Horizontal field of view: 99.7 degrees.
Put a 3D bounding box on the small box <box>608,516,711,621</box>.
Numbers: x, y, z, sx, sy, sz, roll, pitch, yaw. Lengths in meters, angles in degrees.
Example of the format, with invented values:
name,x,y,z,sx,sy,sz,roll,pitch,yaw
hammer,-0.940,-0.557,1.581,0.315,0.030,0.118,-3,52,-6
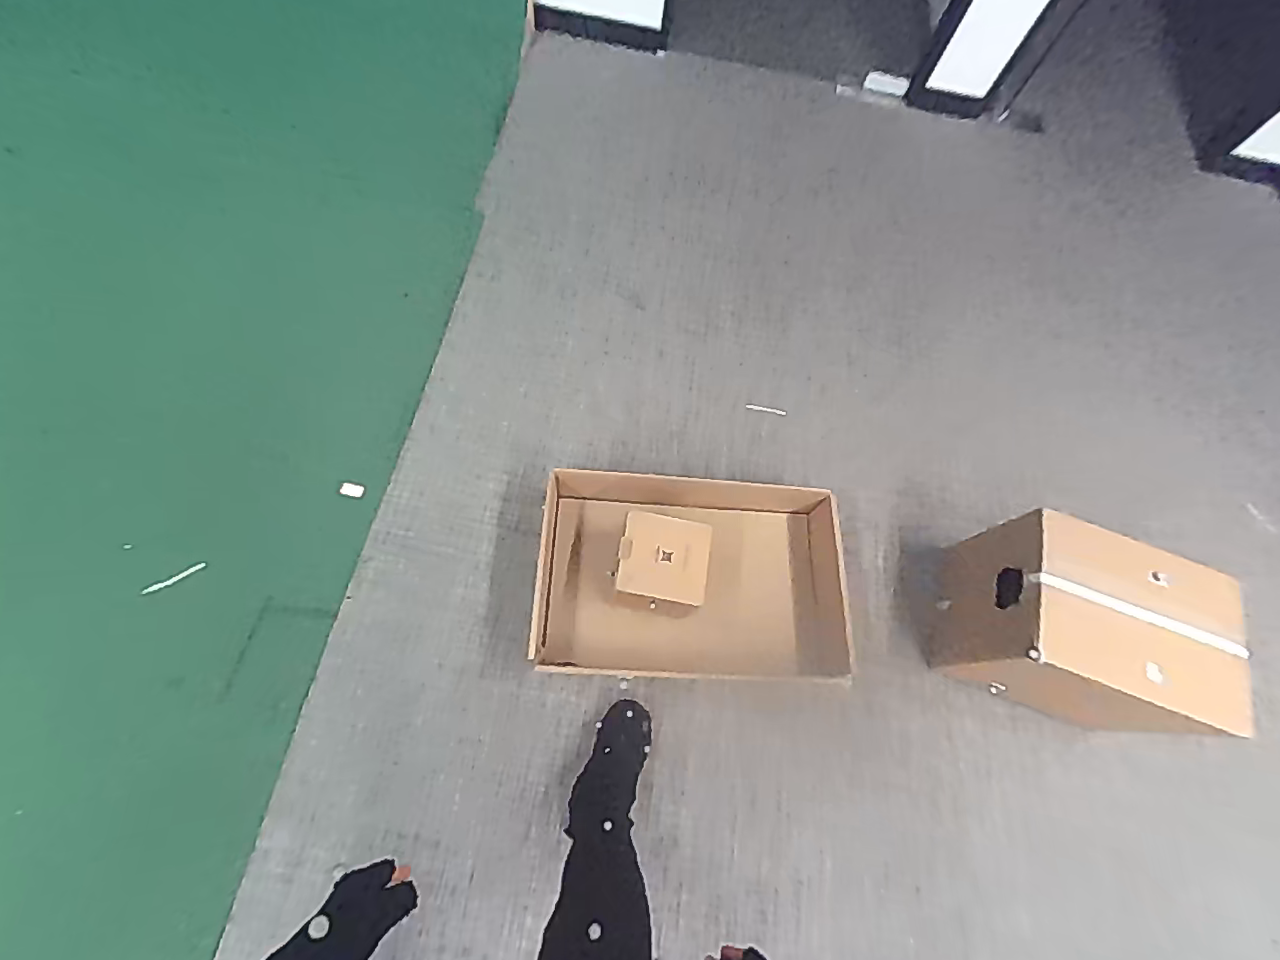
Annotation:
name,x,y,z,sx,sy,sz,roll,pitch,yaw
small box,0.035,0.192,1.128,0.179,0.176,0.168,11,66,-5
